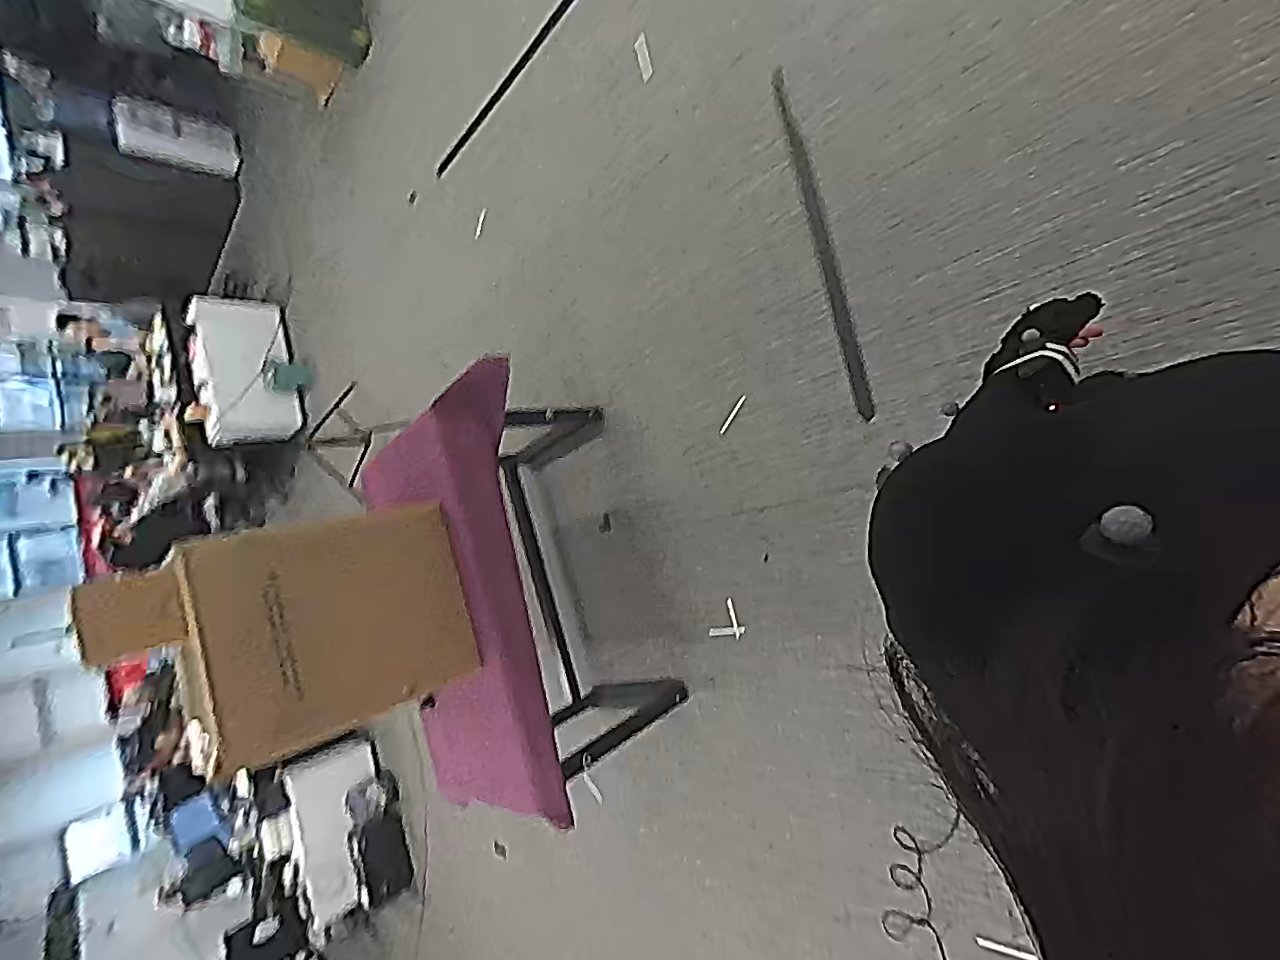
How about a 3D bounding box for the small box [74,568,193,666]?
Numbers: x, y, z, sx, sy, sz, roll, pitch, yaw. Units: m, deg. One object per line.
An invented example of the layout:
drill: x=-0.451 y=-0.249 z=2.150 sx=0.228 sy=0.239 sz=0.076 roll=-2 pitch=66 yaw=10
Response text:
small box: x=-1.143 y=0.305 z=1.221 sx=0.168 sy=0.176 sz=0.179 roll=-20 pitch=83 yaw=41
